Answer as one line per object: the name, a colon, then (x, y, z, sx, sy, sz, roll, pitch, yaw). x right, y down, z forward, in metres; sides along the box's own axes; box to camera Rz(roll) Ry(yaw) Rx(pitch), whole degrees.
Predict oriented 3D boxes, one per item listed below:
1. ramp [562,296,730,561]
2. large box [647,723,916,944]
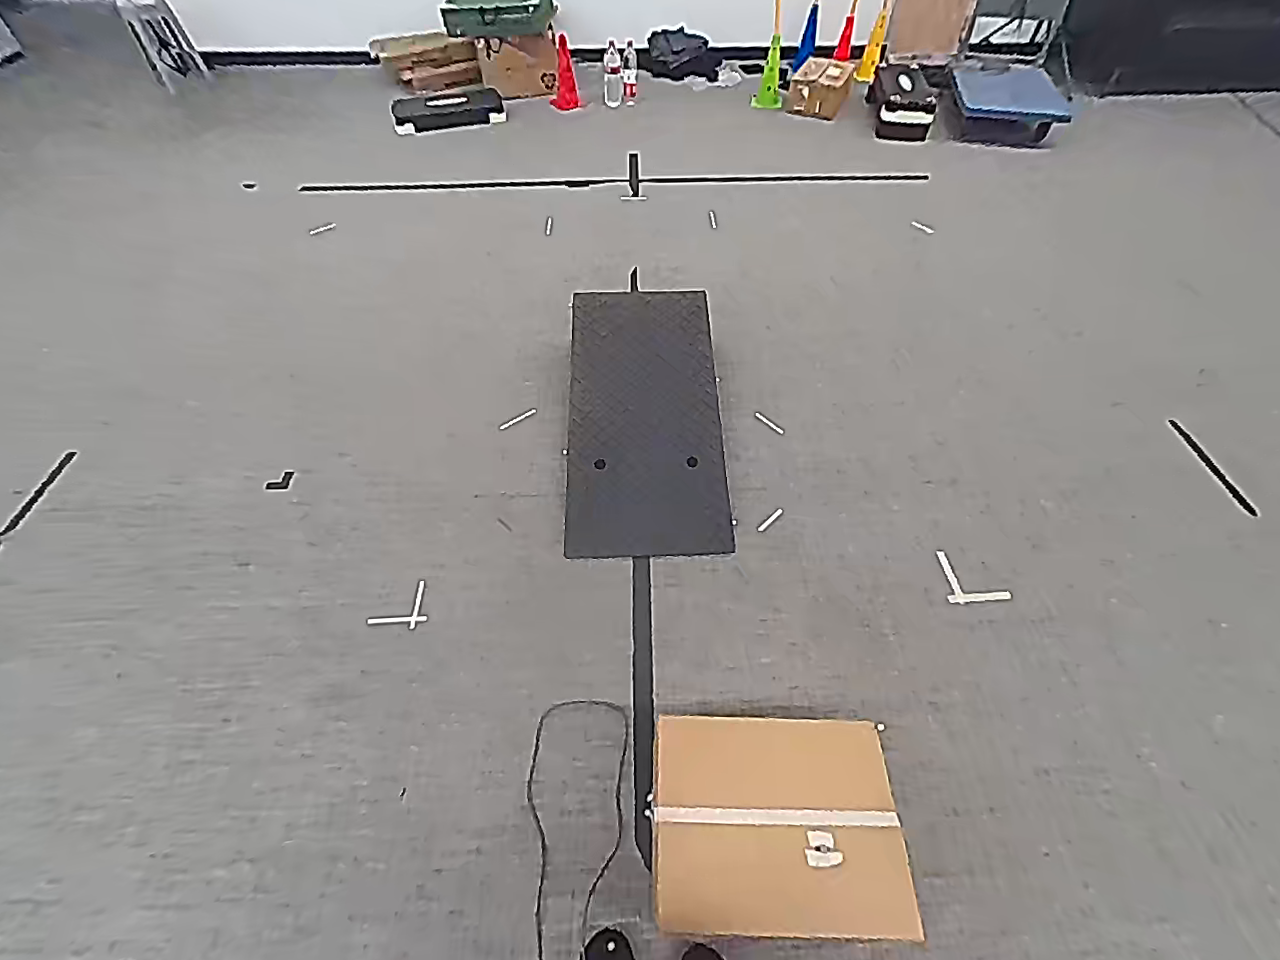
ramp: (0.003, -0.222, 1.767, 0.509, 0.206, 0.991, -2, 54, -3)
large box: (0.220, 0.666, 1.027, 0.408, 0.320, 0.320, 2, 53, -1)
